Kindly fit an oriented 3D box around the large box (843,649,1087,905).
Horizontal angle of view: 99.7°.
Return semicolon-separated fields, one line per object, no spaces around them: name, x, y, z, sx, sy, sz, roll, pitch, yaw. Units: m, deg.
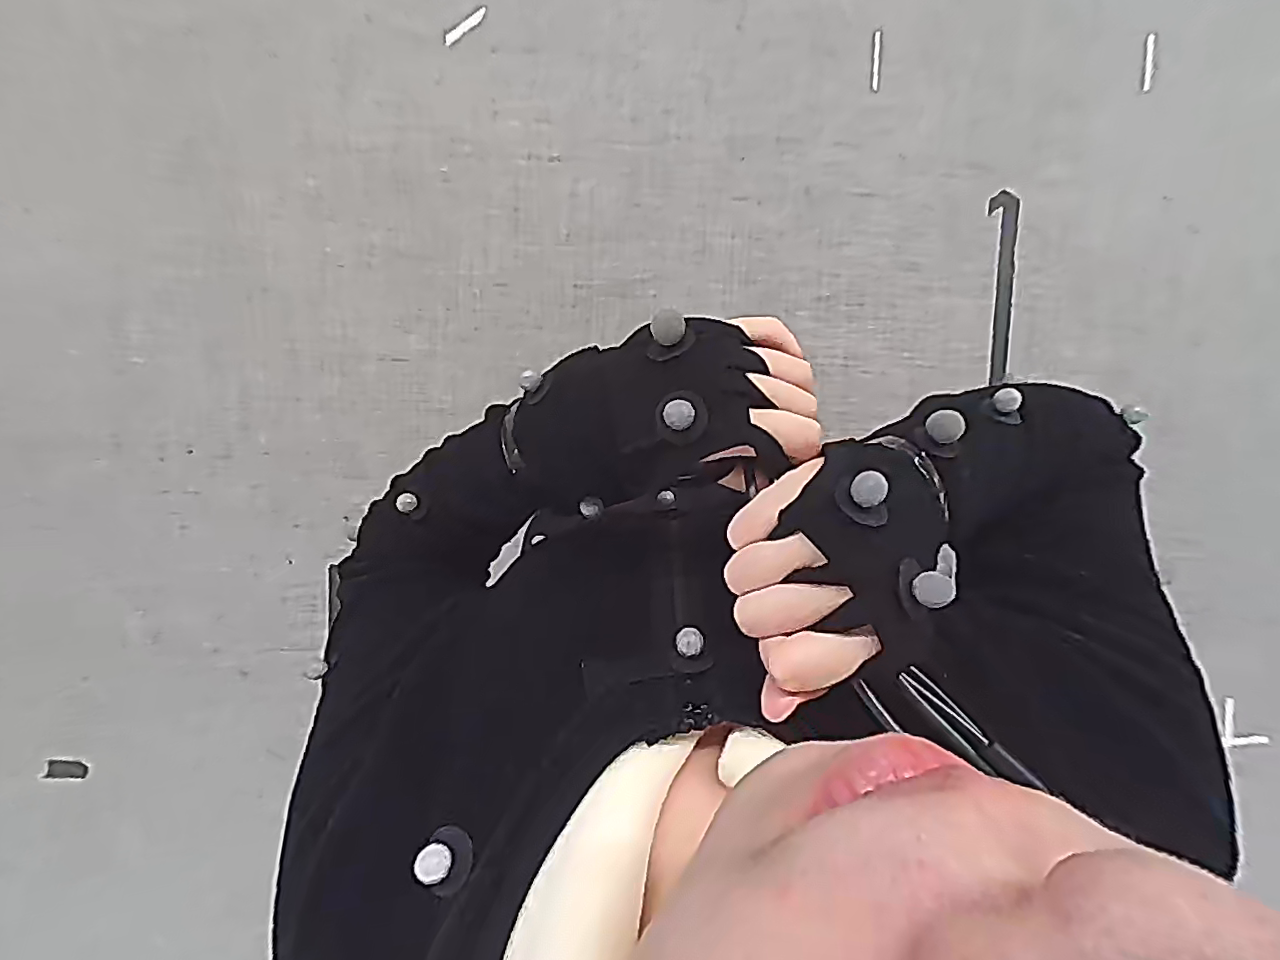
large box;0.733;0.668;1.275;0.320;0.320;0.408;15;94;-4
